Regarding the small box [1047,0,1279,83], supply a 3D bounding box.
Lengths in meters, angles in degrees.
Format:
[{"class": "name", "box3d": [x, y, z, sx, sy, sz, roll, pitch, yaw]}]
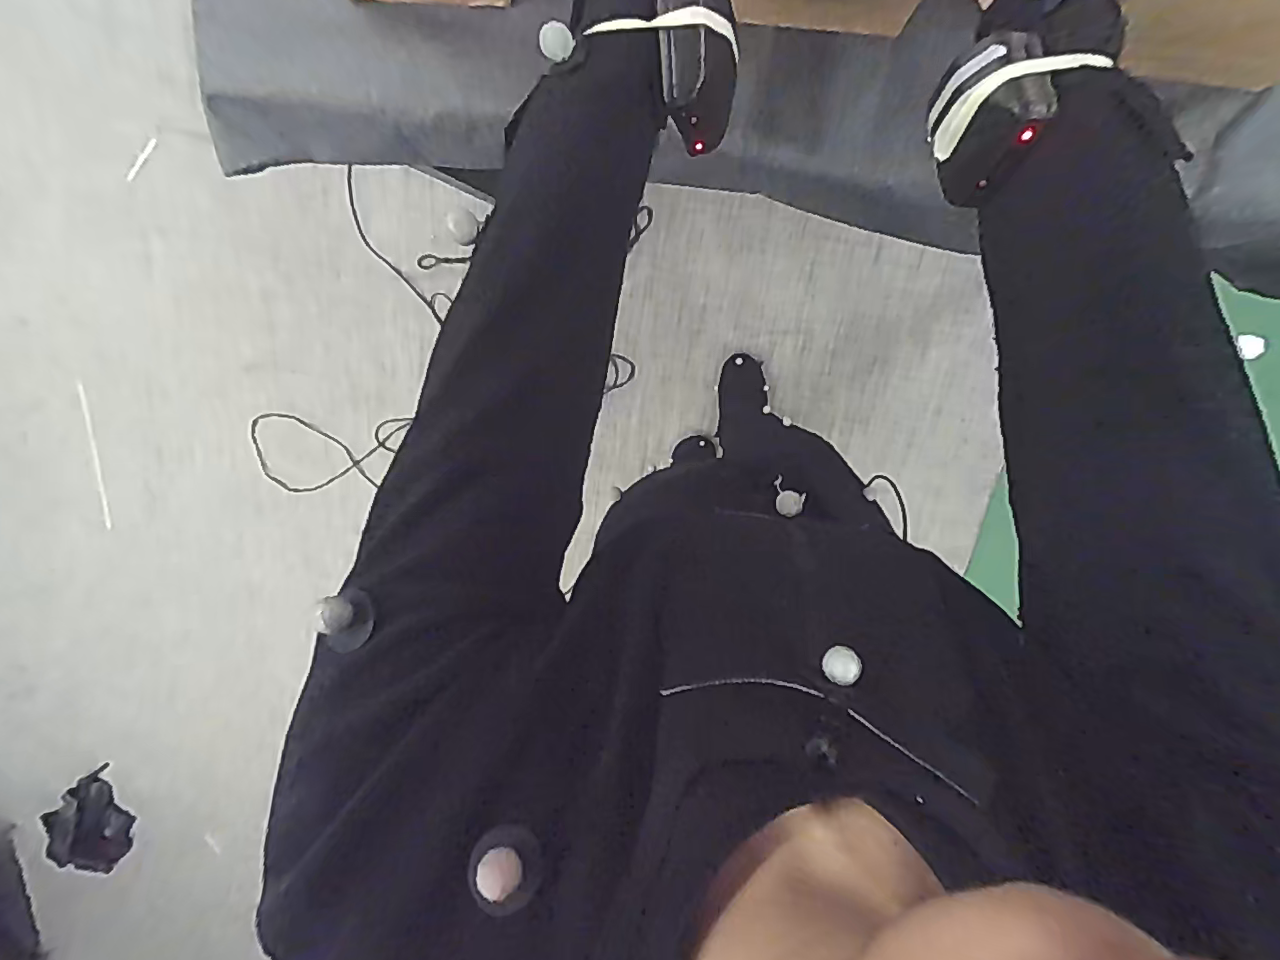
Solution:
[{"class": "small box", "box3d": [0.419, -0.392, 0.350, 0.179, 0.176, 0.168, 13, 108, 6]}]
